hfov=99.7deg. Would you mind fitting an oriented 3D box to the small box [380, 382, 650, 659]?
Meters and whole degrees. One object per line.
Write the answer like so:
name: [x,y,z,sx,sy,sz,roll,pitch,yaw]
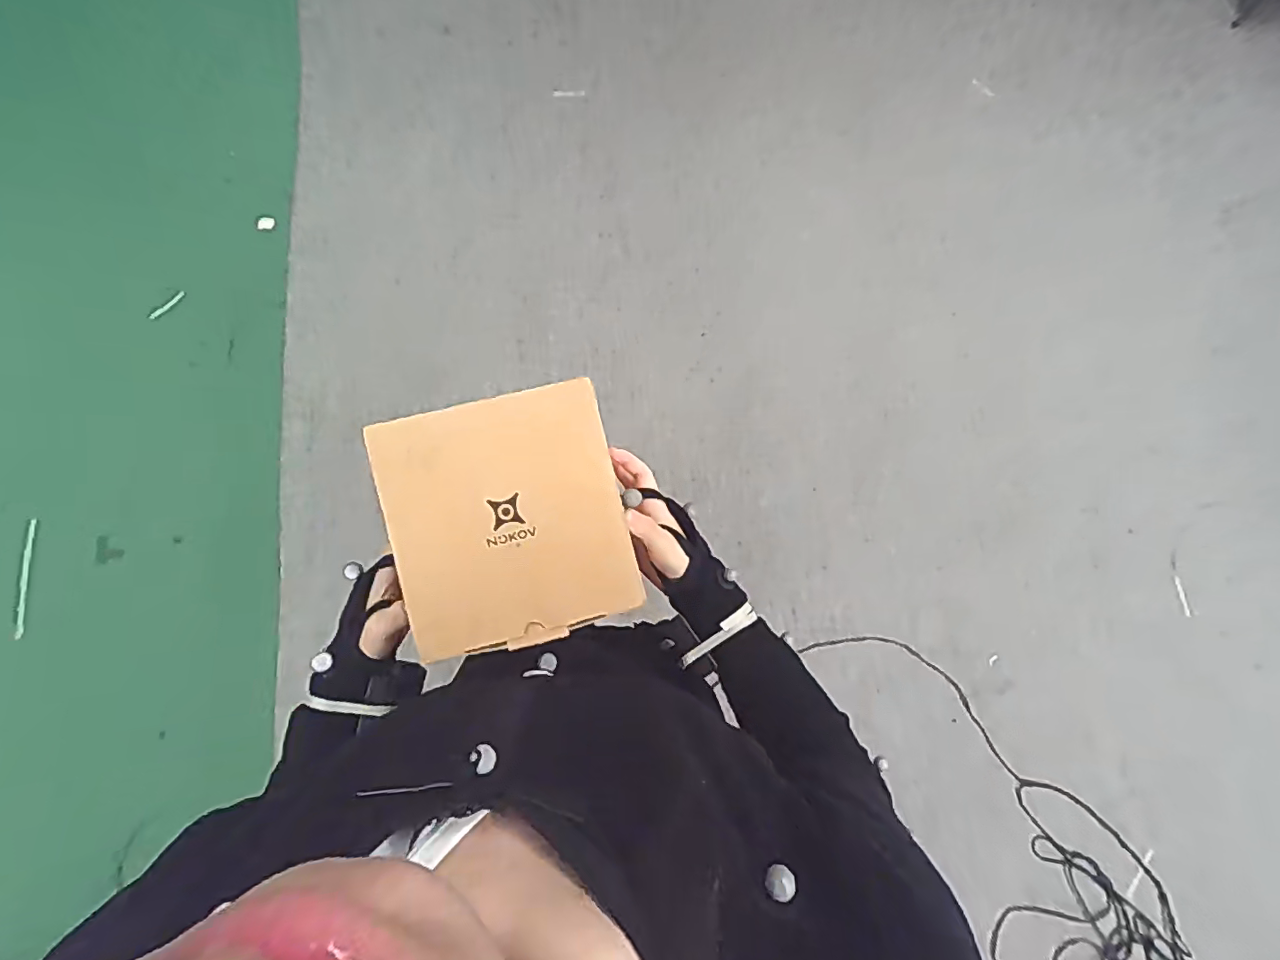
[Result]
small box: [-0.098,0.028,0.474,0.168,0.176,0.179,-14,92,-5]
